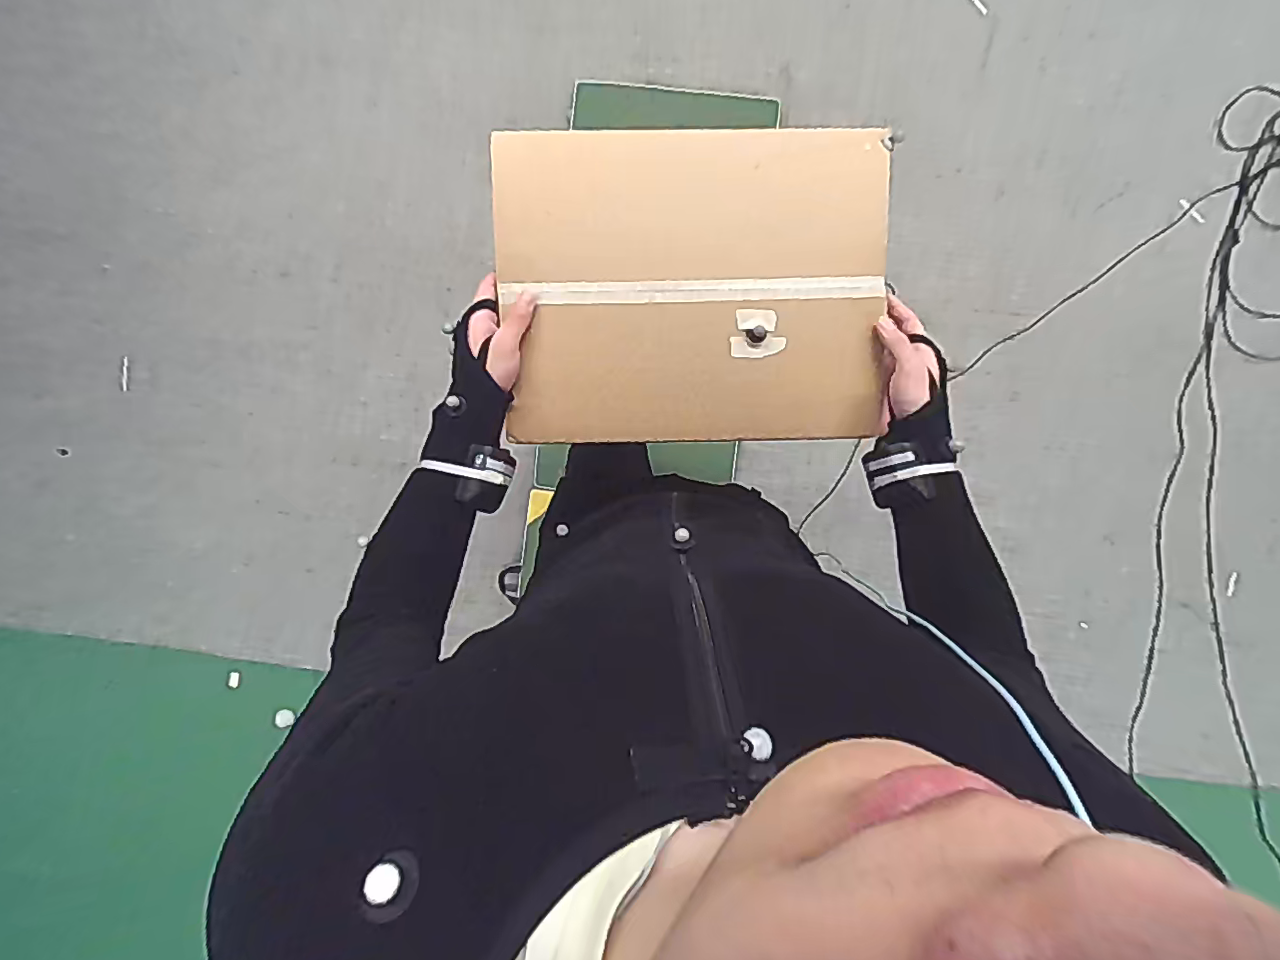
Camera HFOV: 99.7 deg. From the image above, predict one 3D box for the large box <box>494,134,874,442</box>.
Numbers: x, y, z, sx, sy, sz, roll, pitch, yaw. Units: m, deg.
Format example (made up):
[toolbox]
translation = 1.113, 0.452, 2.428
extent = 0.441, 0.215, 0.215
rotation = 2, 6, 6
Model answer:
[large box]
translation = 0.047, -0.221, 0.727
extent = 0.408, 0.320, 0.320
rotation = -1, 98, -1
